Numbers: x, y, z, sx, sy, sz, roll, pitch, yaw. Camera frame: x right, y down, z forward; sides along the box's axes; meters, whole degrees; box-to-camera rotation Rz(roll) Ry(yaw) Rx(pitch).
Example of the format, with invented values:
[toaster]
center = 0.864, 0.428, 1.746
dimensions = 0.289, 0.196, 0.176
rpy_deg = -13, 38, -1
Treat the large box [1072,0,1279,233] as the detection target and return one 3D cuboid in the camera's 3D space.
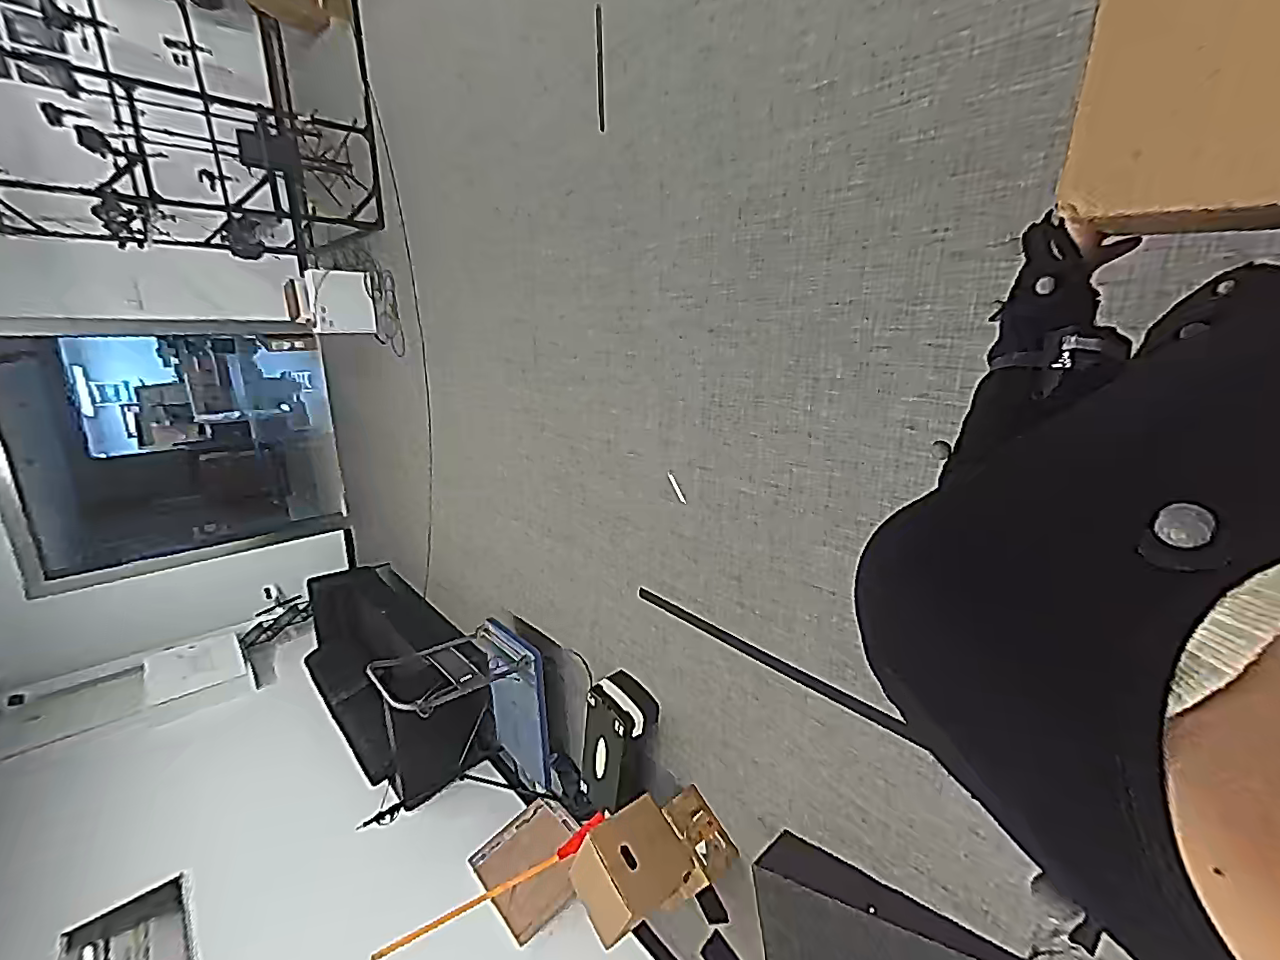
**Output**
[large box]
center = 0.450, -0.279, 0.194
dimensions = 0.408, 0.320, 0.320
rpy_deg = 16, 118, 39
